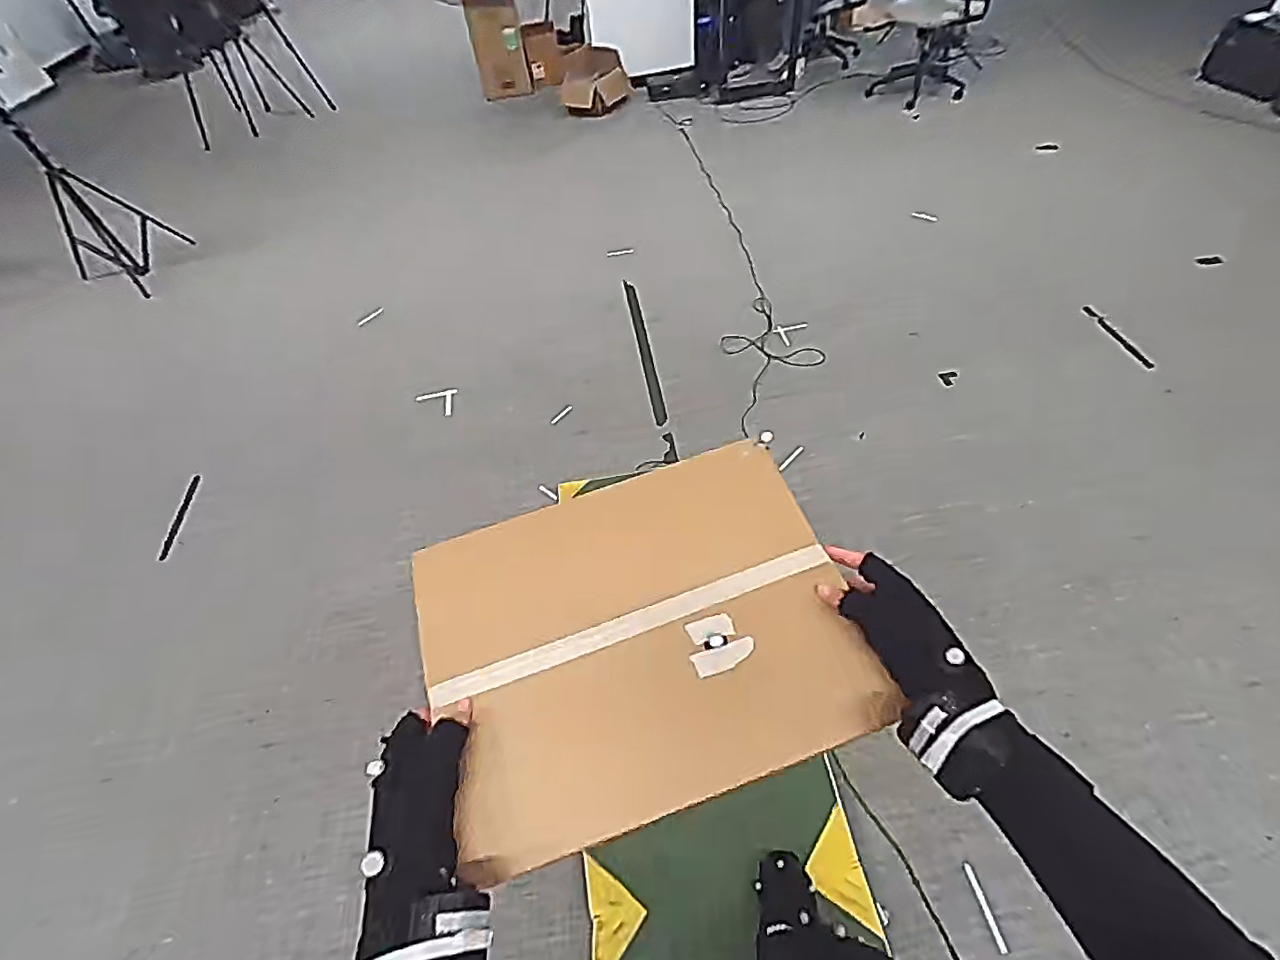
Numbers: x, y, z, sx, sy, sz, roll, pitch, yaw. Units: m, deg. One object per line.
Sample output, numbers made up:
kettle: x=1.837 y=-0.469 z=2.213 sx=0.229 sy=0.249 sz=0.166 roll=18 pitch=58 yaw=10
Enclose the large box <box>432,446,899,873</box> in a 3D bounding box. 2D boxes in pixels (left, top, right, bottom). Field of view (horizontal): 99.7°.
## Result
large box: x=0.014 y=0.220 z=0.669 sx=0.408 sy=0.320 sz=0.320 roll=-18 pitch=60 yaw=-6
